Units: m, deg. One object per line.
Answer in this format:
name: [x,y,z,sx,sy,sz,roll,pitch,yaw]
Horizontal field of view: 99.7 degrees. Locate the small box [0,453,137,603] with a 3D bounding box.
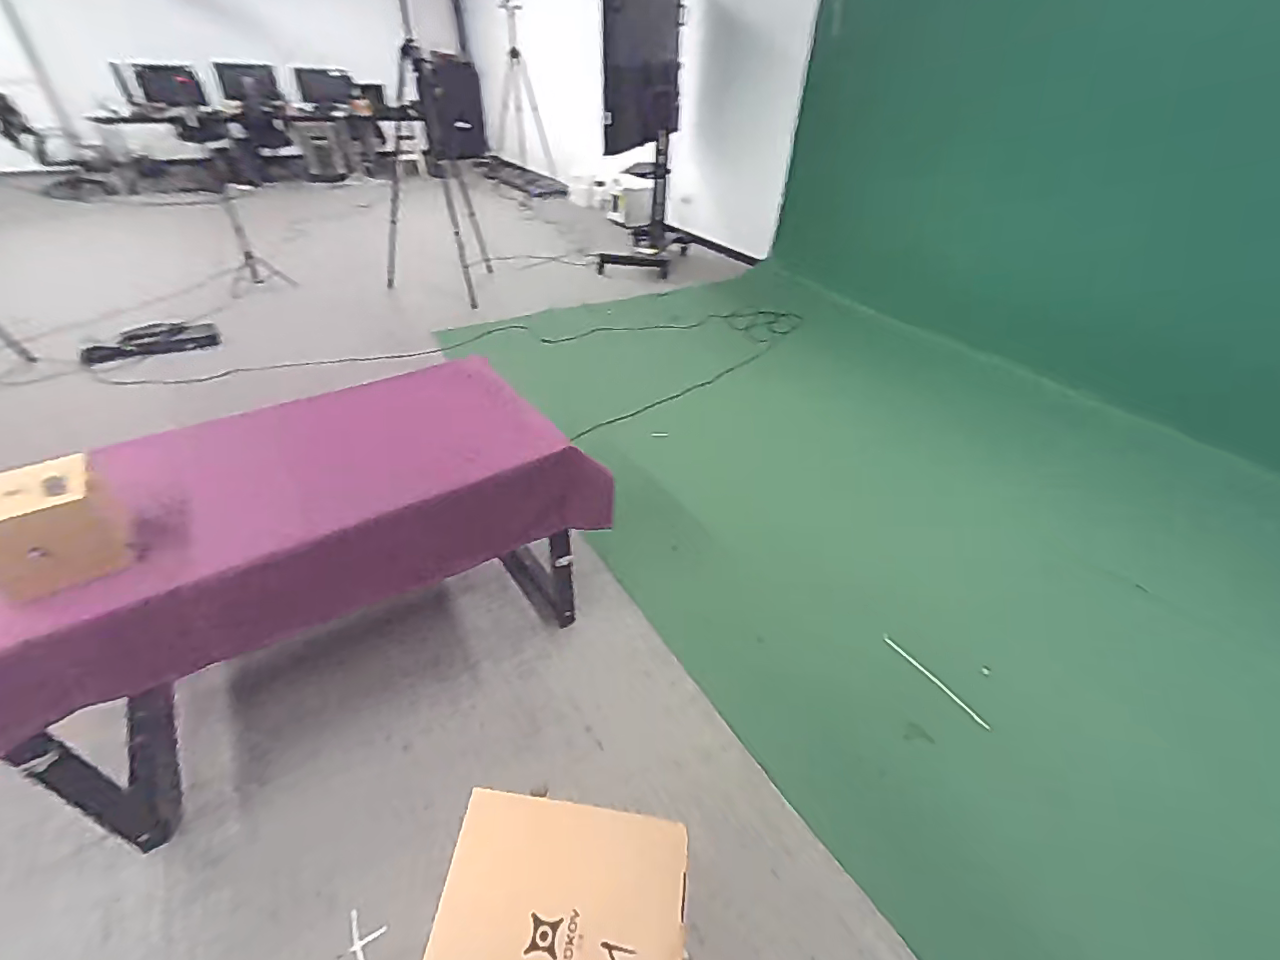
small box: [-1.049,0.084,0.971,0.179,0.176,0.168,-25,46,-29]

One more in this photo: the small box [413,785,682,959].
small box: [-0.065,0.364,0.435,0.179,0.176,0.168,7,53,4]
